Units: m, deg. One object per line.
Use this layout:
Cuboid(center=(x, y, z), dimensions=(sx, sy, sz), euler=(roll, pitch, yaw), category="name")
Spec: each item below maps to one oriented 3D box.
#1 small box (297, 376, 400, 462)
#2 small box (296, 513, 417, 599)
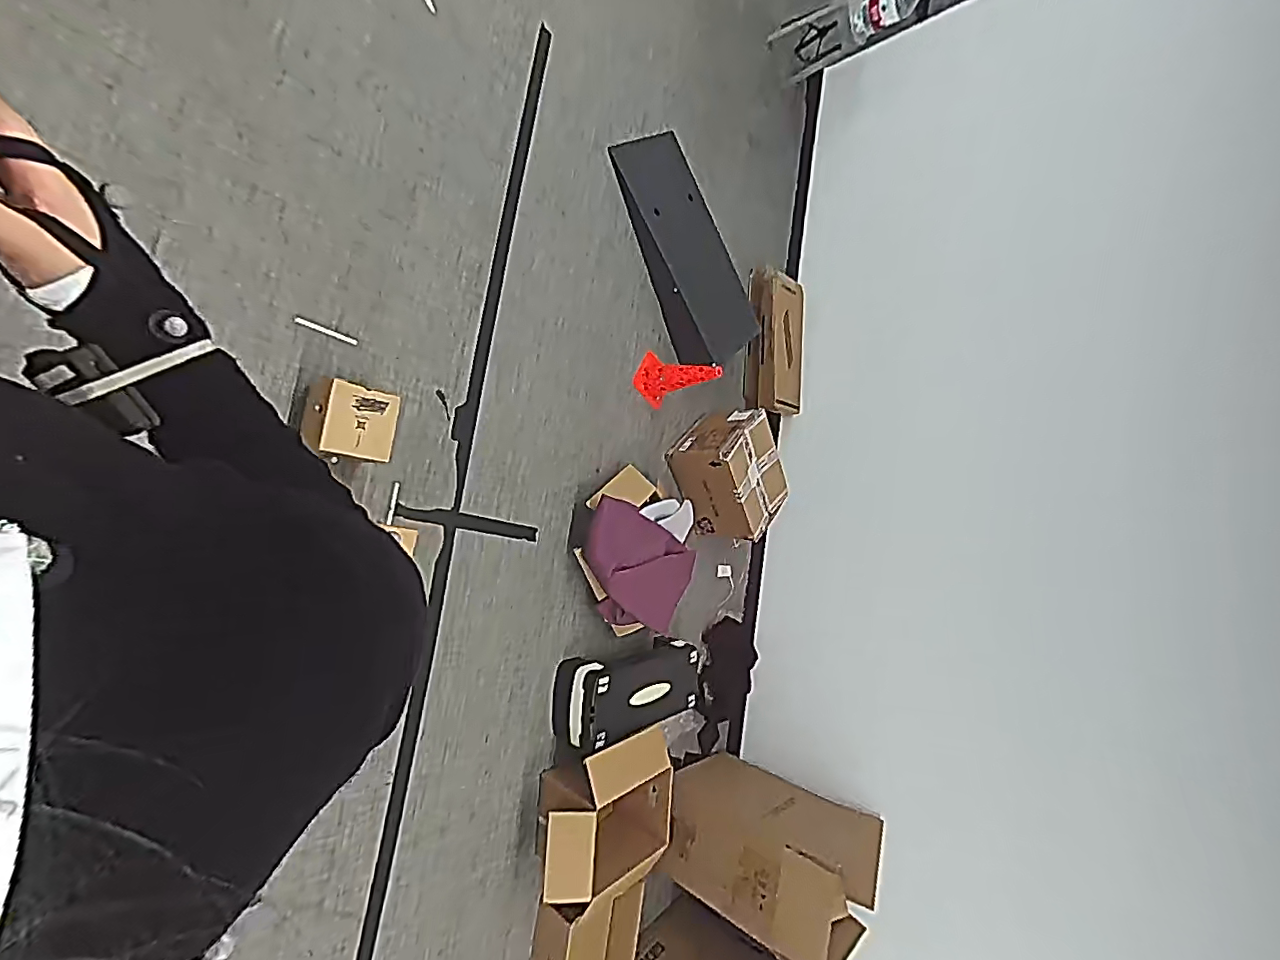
Cuboid(center=(-0.741, -0.148, 1.370), dimensions=(0.168, 0.176, 0.179), euler=(15, 81, -48), category="small box")
Cuboid(center=(-0.649, 0.172, 1.241), dimensions=(0.179, 0.176, 0.168), euler=(20, 77, -47), category="small box")
